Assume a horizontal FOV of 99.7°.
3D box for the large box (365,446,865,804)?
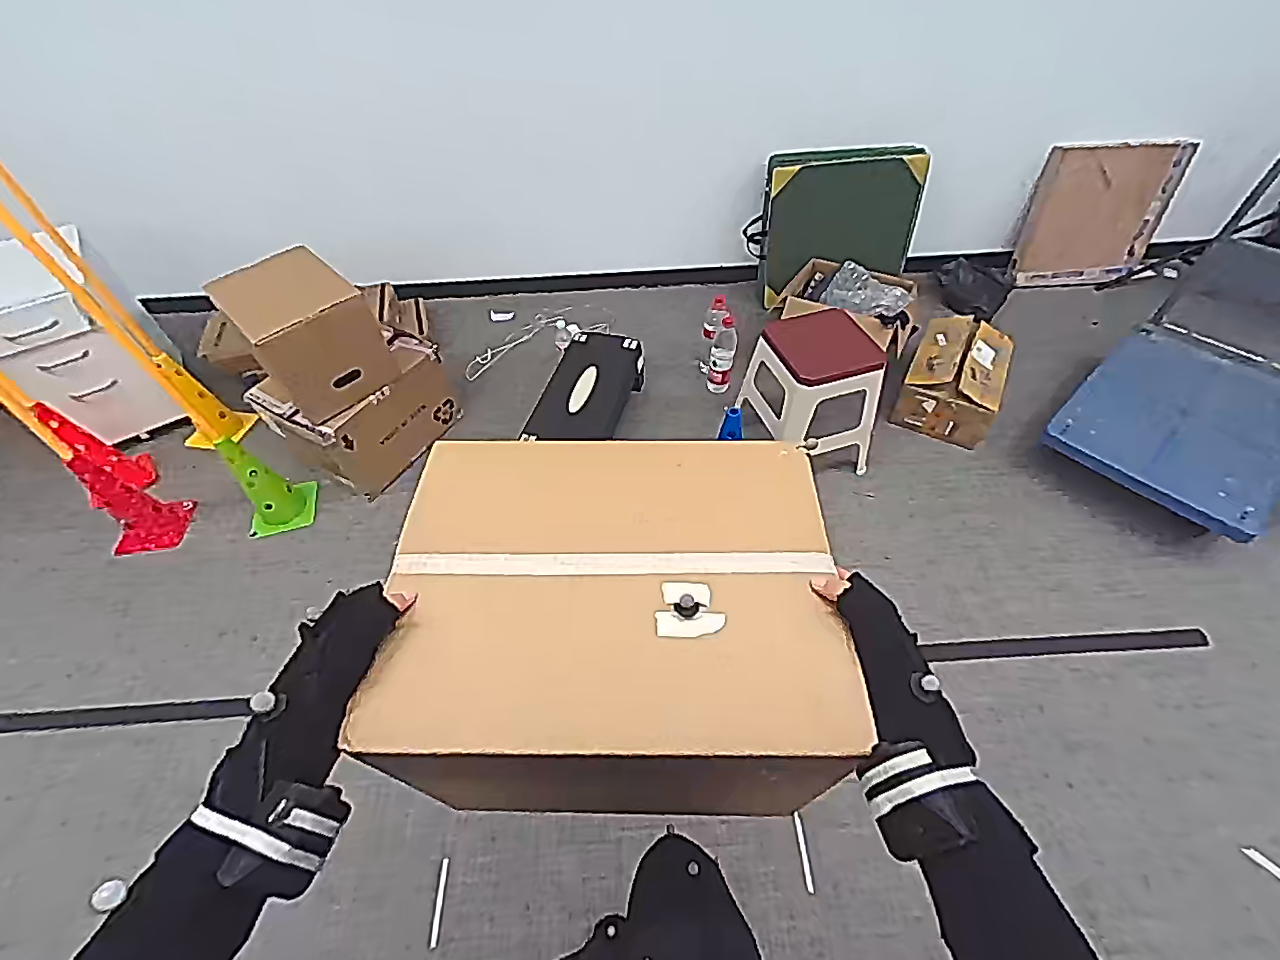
[{"bbox_3d":[-0.020,0.175,0.631,0.408,0.320,0.320,1,51,1],"label":"large box"}]
